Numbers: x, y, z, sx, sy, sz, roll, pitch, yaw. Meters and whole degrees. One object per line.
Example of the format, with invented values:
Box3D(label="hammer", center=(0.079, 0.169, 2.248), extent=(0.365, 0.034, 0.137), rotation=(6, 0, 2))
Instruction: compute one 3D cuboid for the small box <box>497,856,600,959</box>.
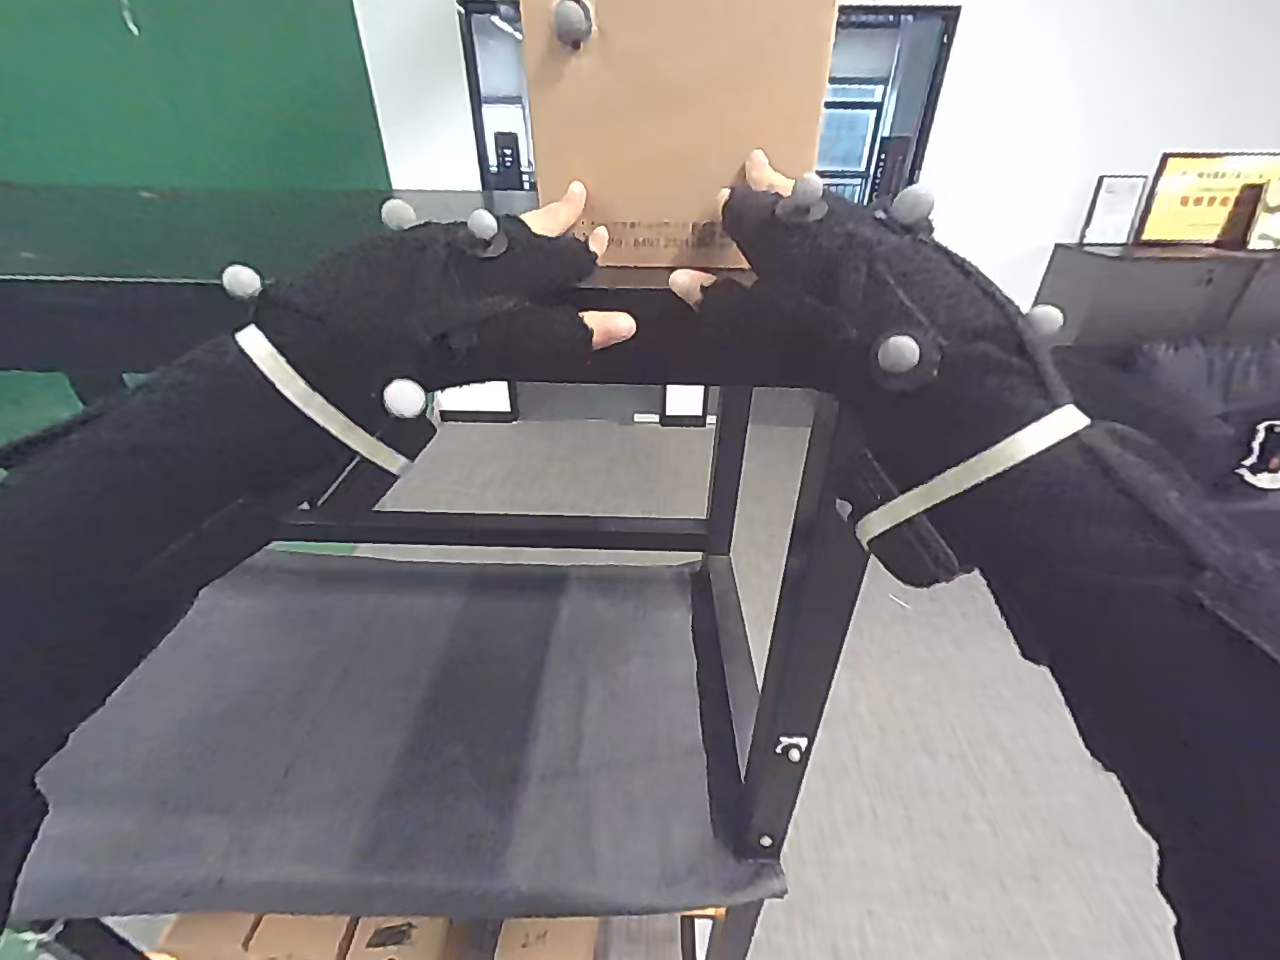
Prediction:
Box3D(label="small box", center=(-0.176, 0.908, 1.100), extent=(0.168, 0.176, 0.179), rotation=(3, 34, 5))
